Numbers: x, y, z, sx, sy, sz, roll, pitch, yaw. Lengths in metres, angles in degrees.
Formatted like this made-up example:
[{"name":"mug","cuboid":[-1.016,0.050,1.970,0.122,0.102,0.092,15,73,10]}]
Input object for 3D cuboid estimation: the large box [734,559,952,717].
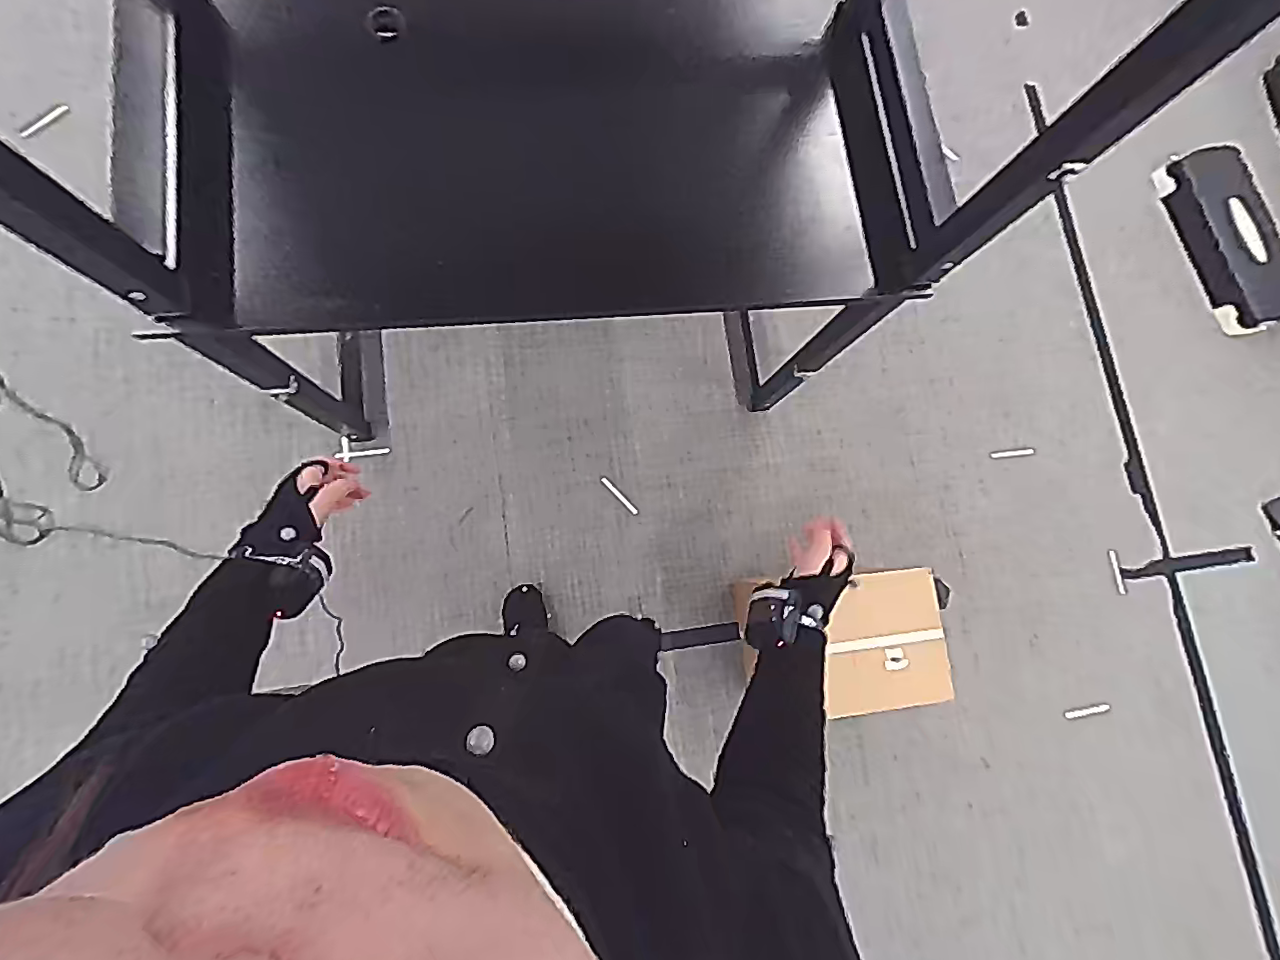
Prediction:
[{"name":"large box","cuboid":[0.497,0.381,1.396,0.408,0.320,0.320,-5,83,-9]}]
